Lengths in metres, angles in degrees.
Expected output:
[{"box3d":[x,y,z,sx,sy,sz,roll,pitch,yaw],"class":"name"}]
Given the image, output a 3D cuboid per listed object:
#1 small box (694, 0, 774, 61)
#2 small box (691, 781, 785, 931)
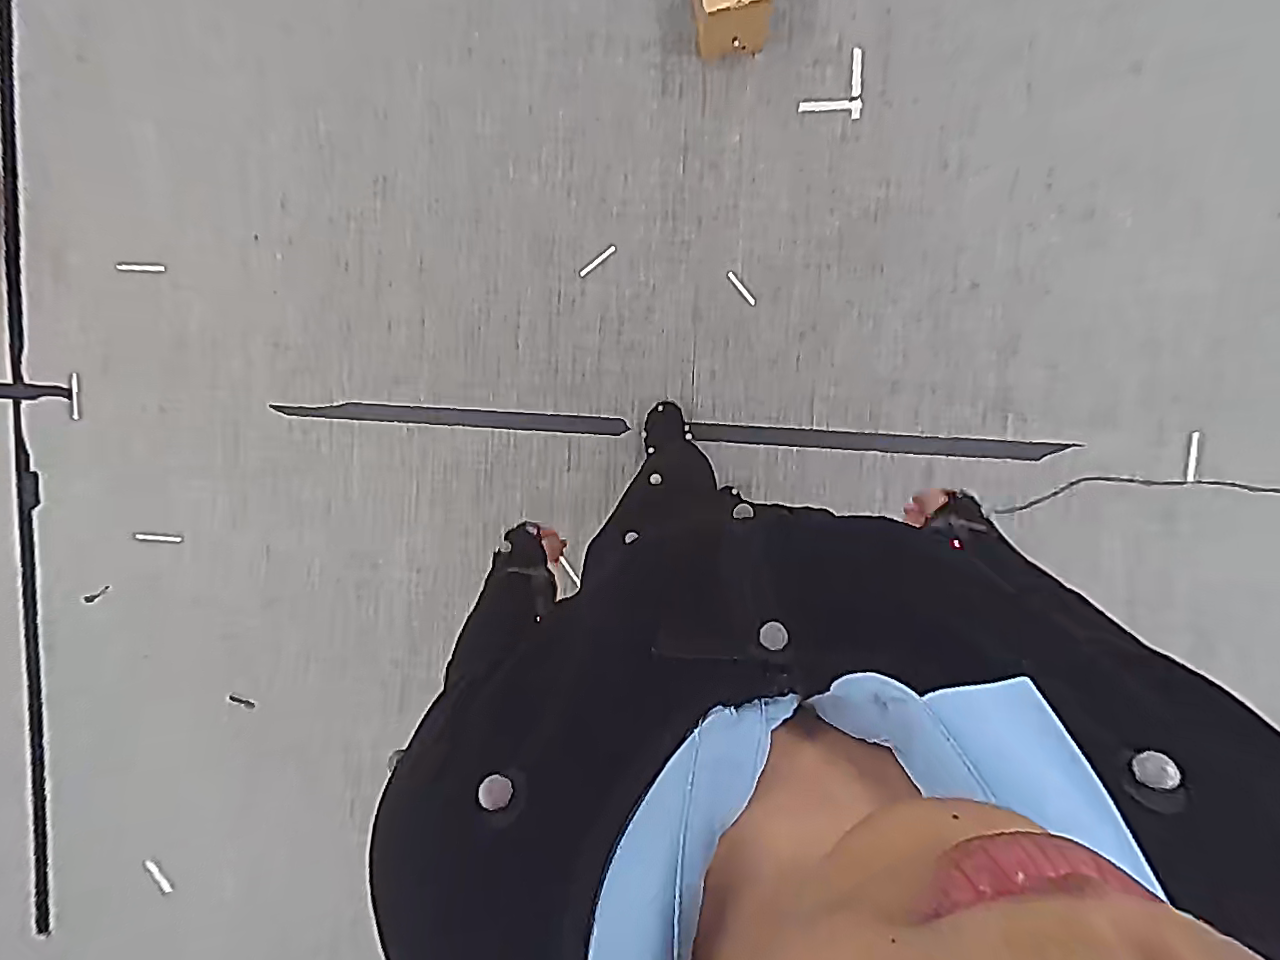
[{"box3d":[0.225,-1.185,1.322,0.168,0.176,0.179,-9,93,6],"class":"small box"},{"box3d":[0.191,0.747,1.090,0.168,0.176,0.179,3,92,5],"class":"small box"}]
